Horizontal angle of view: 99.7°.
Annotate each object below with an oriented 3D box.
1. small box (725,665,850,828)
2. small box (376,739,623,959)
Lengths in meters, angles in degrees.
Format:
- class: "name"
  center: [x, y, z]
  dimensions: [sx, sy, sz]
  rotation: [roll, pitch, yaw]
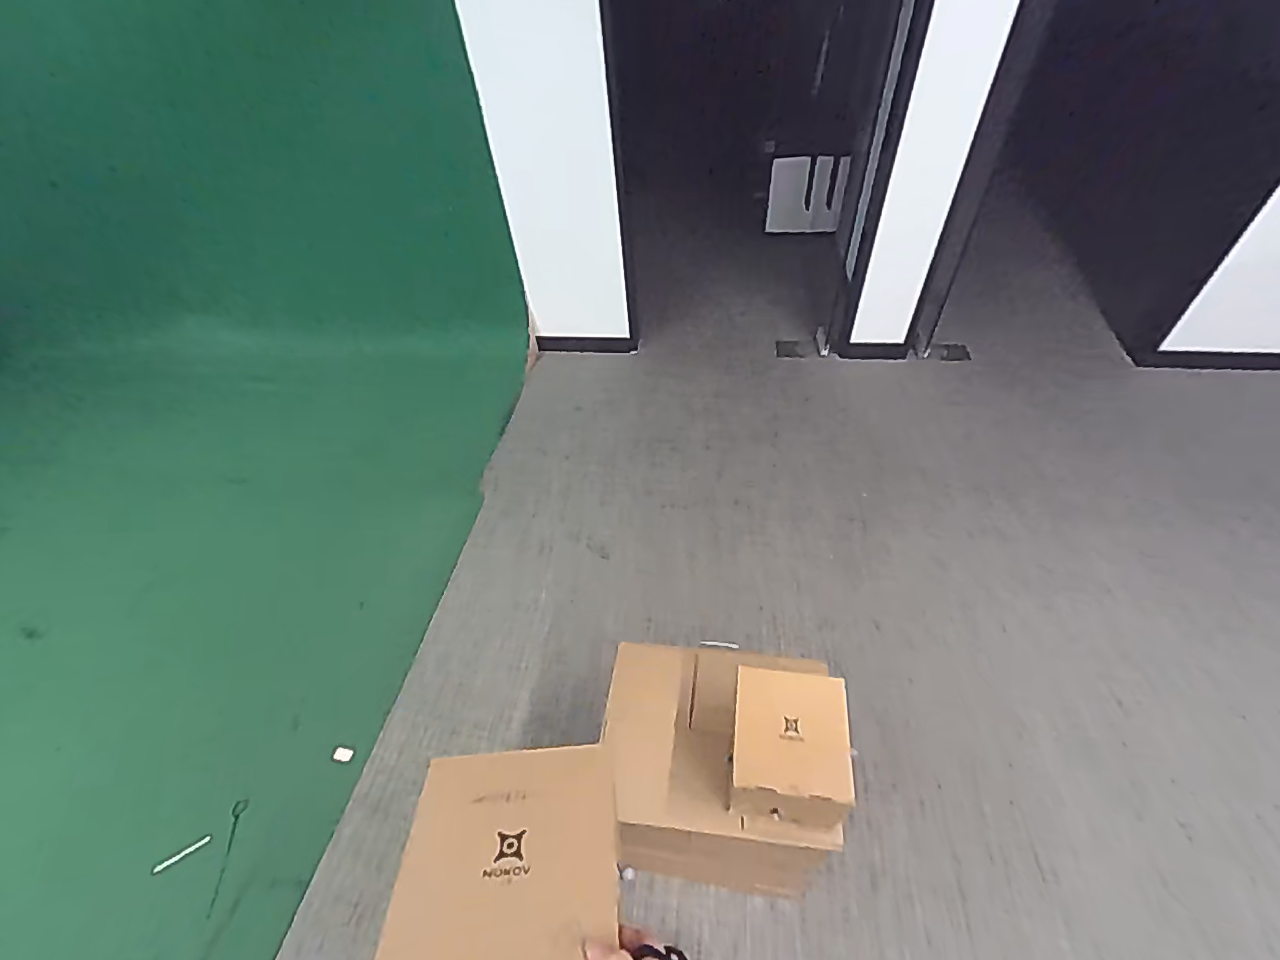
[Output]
- class: "small box"
  center: [0.224, 0.421, 0.855]
  dimensions: [0.168, 0.176, 0.179]
  rotation: [5, 49, 10]
- class: "small box"
  center: [-0.100, 0.357, 0.467]
  dimensions: [0.168, 0.176, 0.179]
  rotation: [-2, 28, -3]
